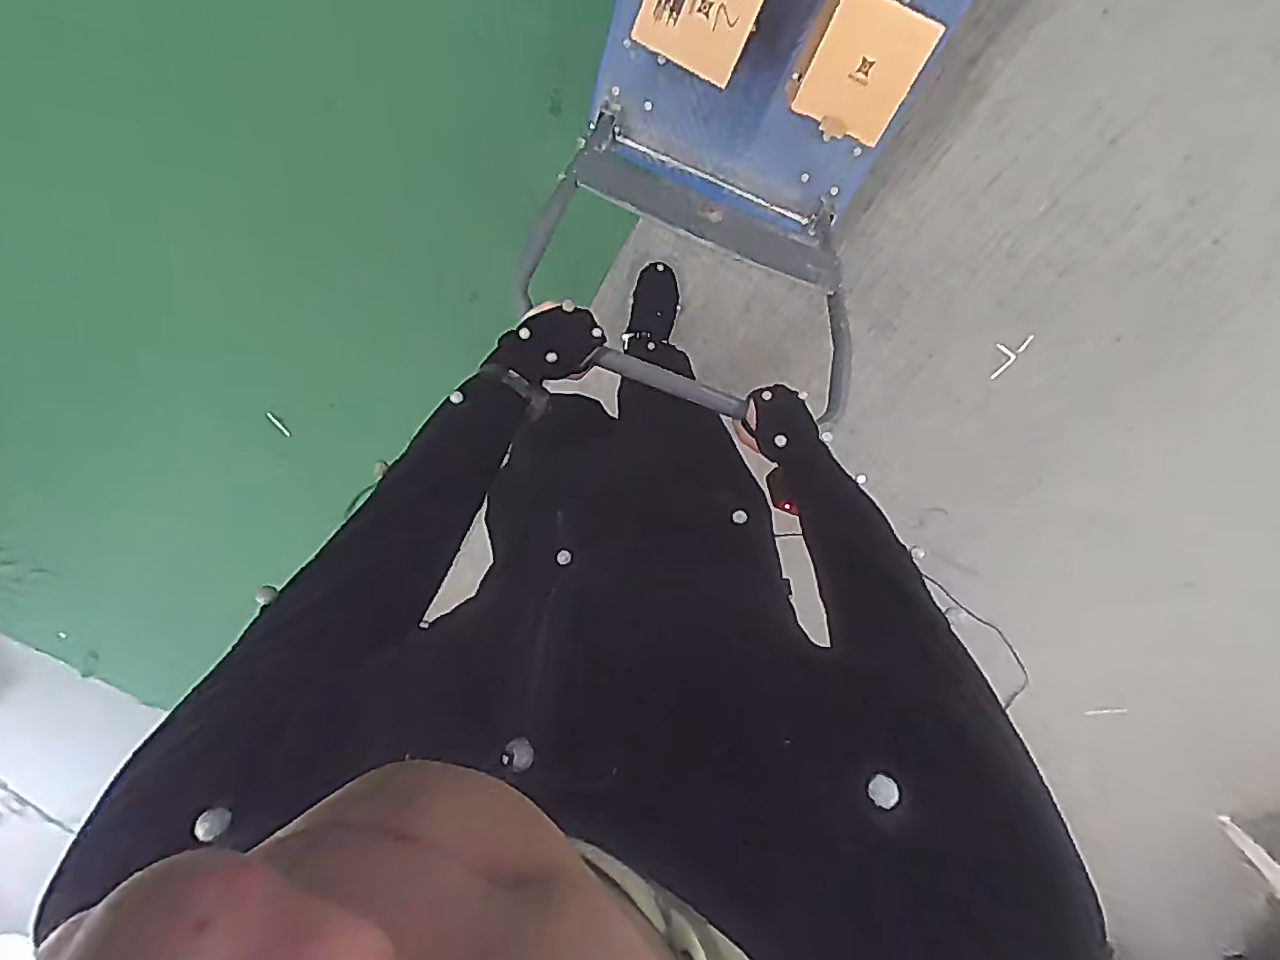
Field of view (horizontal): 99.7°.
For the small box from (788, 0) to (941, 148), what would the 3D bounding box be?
[{"bbox_3d":[0.364,-0.713,0.921,0.168,0.176,0.179,19,136,-9],"label":"small box"}]
